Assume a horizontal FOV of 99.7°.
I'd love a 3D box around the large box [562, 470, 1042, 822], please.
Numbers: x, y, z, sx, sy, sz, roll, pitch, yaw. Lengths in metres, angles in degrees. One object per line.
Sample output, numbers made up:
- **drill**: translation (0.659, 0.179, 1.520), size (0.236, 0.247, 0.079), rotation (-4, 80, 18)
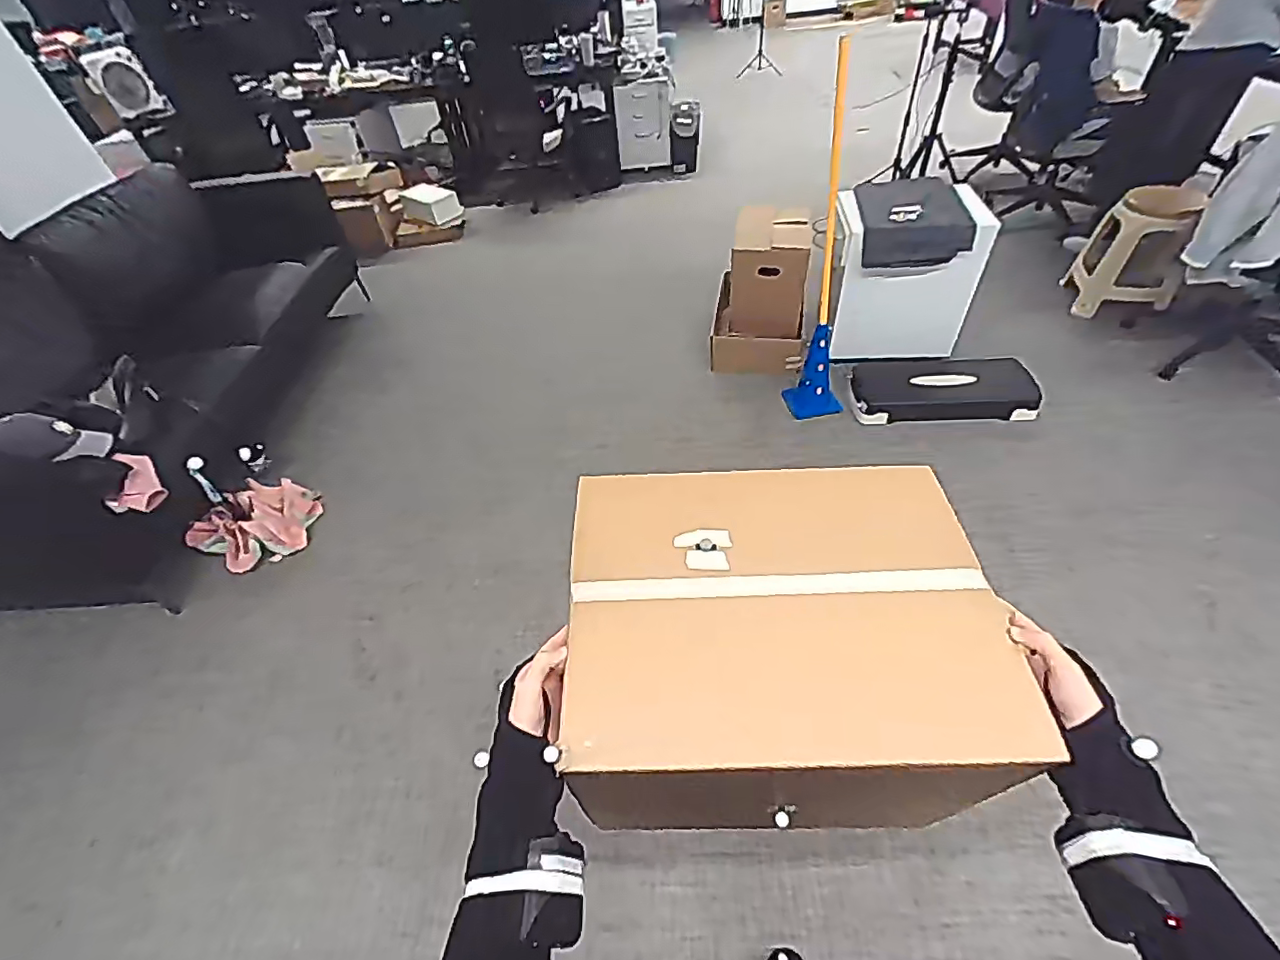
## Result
- **large box**: translation (0.139, 0.210, 0.652), size (0.408, 0.320, 0.320), rotation (-3, 49, 2)
